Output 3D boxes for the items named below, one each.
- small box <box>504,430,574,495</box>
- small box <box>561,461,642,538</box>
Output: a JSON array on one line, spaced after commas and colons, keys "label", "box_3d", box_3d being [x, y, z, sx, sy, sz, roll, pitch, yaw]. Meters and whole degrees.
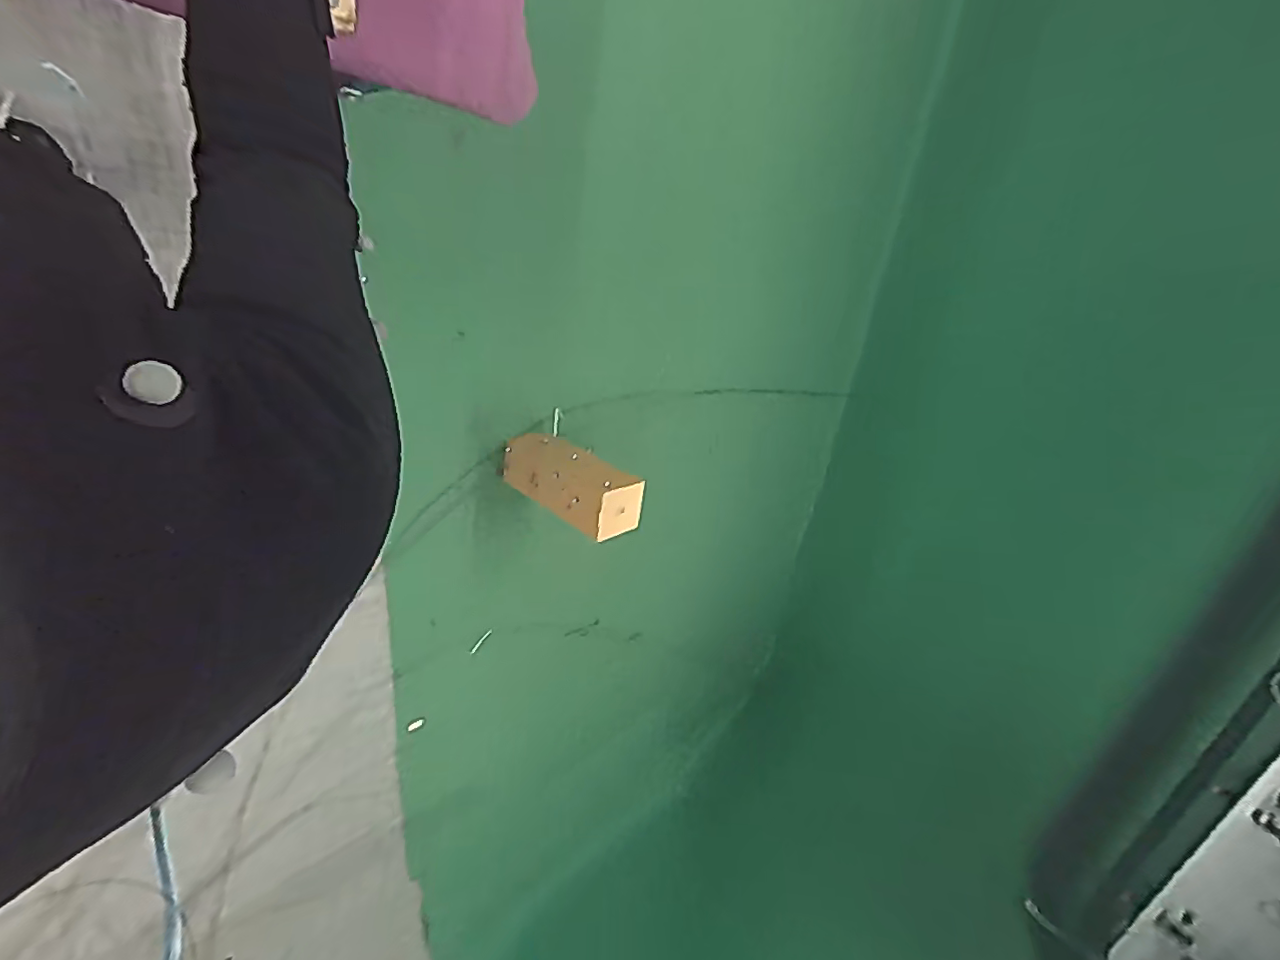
[{"label": "small box", "box_3d": [-0.356, -0.066, 1.881, 0.179, 0.176, 0.168, -14, 123, -45]}, {"label": "small box", "box_3d": [-0.121, 0.054, 1.687, 0.179, 0.176, 0.168, -17, 124, -44]}]
